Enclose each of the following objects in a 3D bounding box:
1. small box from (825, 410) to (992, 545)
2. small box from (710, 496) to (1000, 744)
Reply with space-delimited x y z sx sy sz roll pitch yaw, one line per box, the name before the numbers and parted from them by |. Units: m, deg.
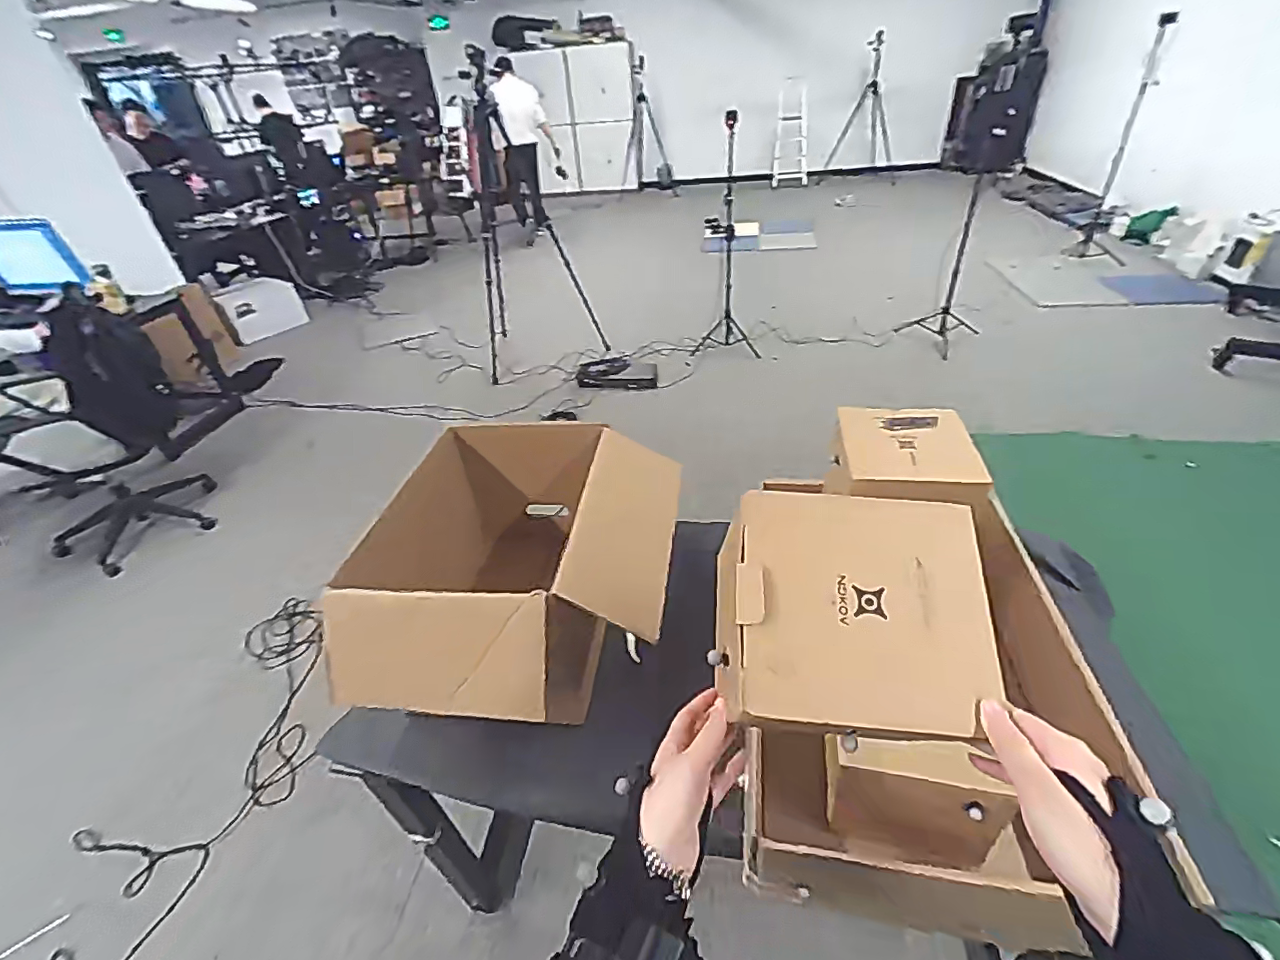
small box | 0.369 0.017 0.783 0.168 0.176 0.179 2 40 11
small box | 0.154 0.124 0.458 0.179 0.176 0.168 4 67 1
